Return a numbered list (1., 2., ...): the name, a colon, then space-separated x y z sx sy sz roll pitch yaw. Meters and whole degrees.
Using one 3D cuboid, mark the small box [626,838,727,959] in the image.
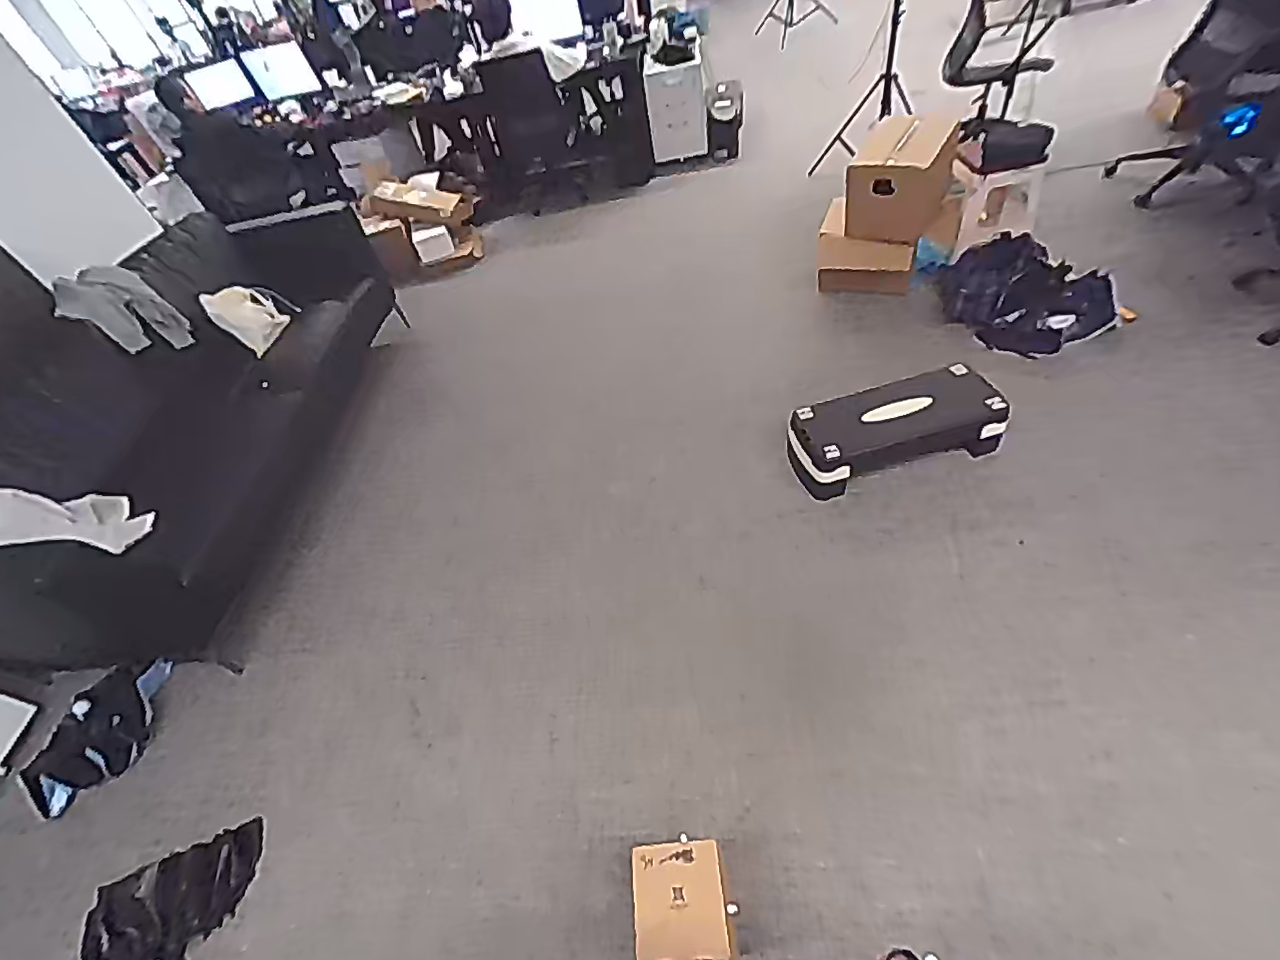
1. small box: 0.072 0.812 1.045 0.168 0.176 0.179 -9 49 6
